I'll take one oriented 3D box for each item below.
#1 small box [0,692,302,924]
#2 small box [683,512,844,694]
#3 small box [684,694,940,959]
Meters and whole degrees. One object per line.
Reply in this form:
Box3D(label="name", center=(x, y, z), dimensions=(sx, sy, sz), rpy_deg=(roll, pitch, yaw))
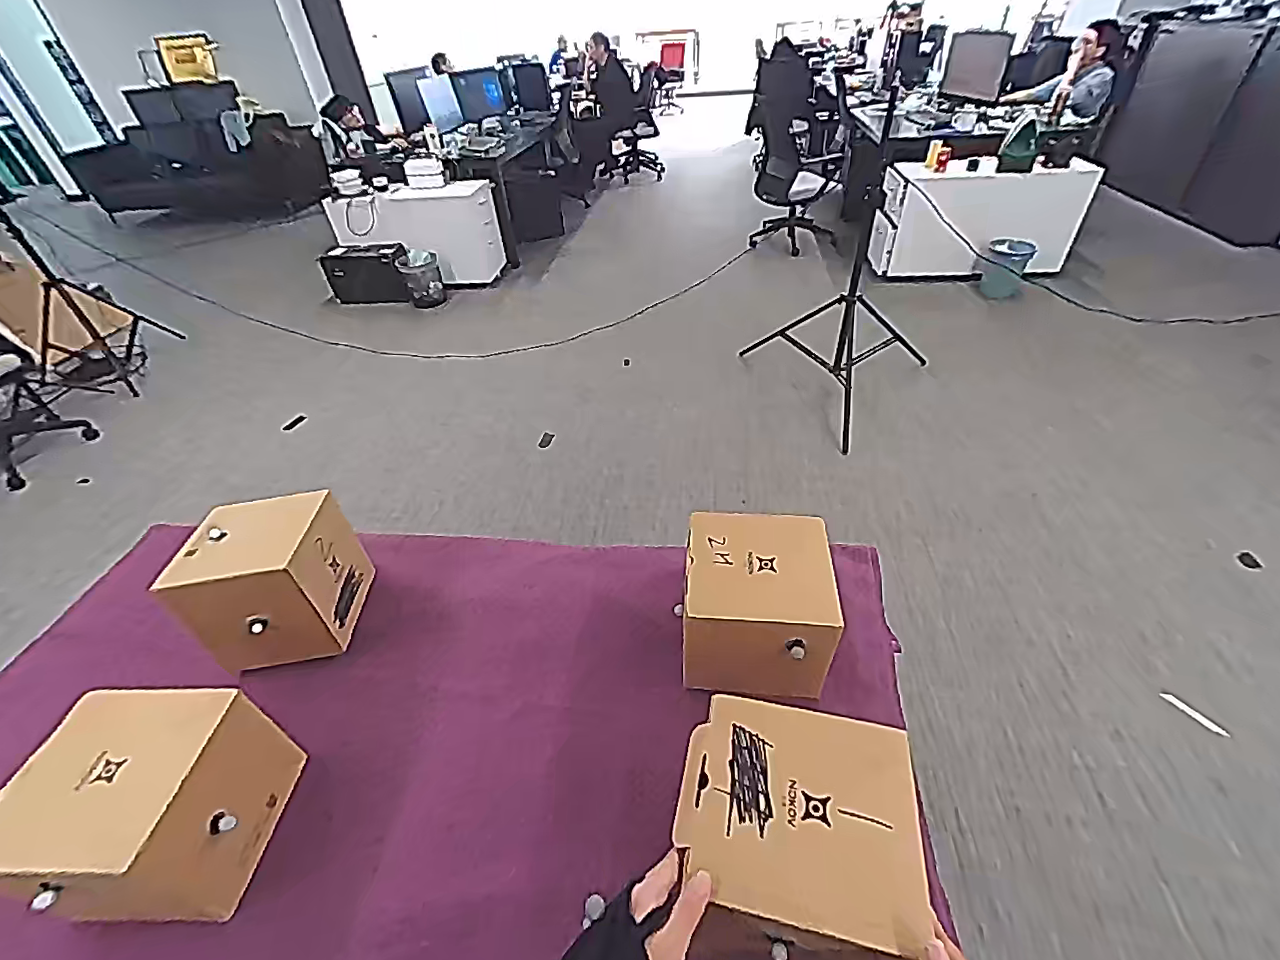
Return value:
Box3D(label="small box", center=(-0.502, 0.340, 0.564), dimensions=(0.179, 0.176, 0.168), rpy_deg=(-2, 40, 3))
Box3D(label="small box", center=(0.148, 0.161, 0.704), dimensions=(0.179, 0.176, 0.168), rpy_deg=(2, 42, 7))
Box3D(label="small box", center=(0.140, 0.324, 0.482), dimensions=(0.179, 0.176, 0.168), rpy_deg=(7, 40, 13))
